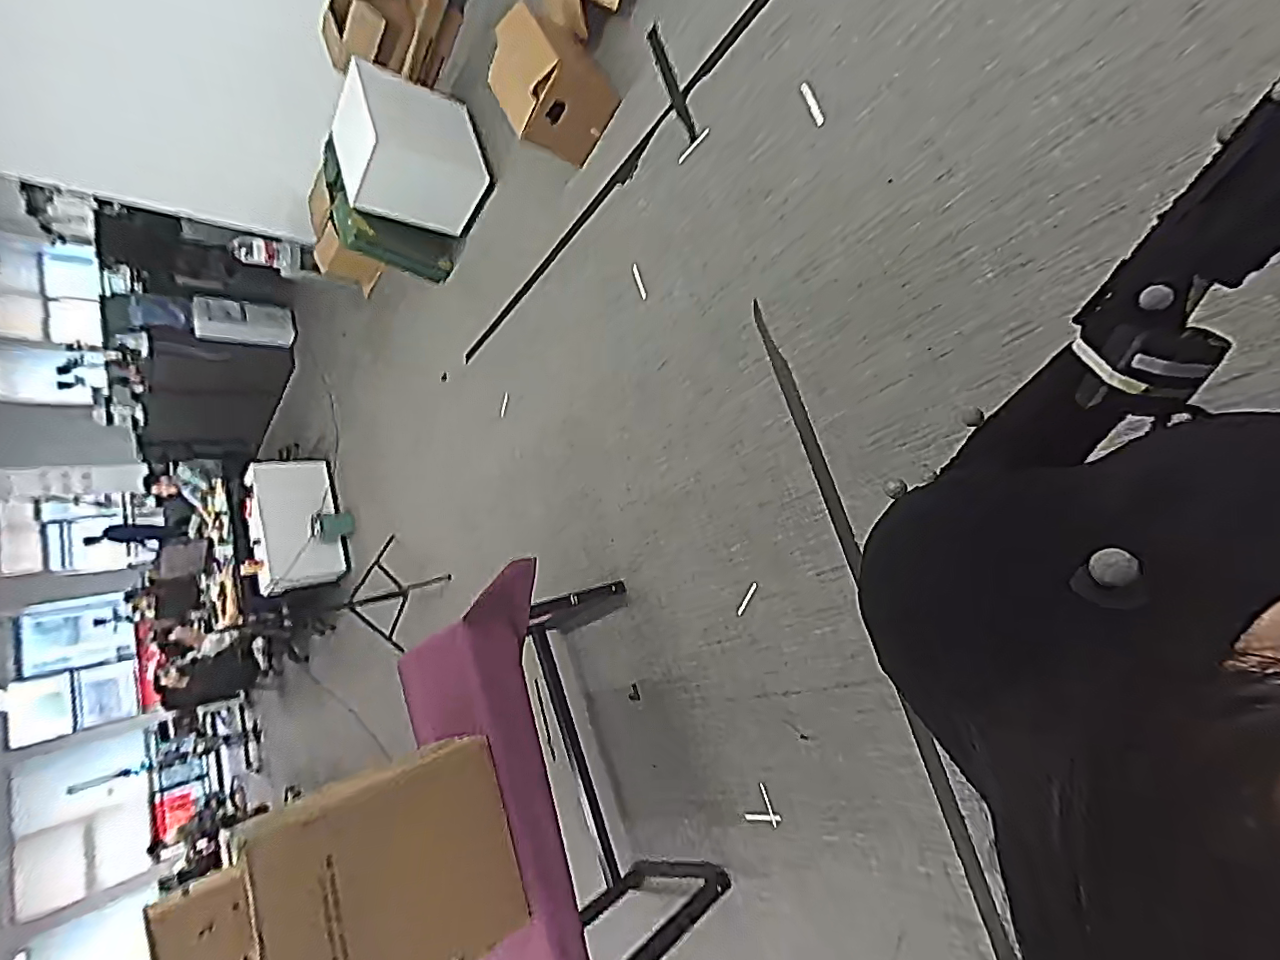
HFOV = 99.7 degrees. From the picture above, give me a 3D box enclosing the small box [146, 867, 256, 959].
[{"bbox_3d":[-0.978,1.003,1.208,0.179,0.176,0.168,-30,73,42],"label":"small box"}]
